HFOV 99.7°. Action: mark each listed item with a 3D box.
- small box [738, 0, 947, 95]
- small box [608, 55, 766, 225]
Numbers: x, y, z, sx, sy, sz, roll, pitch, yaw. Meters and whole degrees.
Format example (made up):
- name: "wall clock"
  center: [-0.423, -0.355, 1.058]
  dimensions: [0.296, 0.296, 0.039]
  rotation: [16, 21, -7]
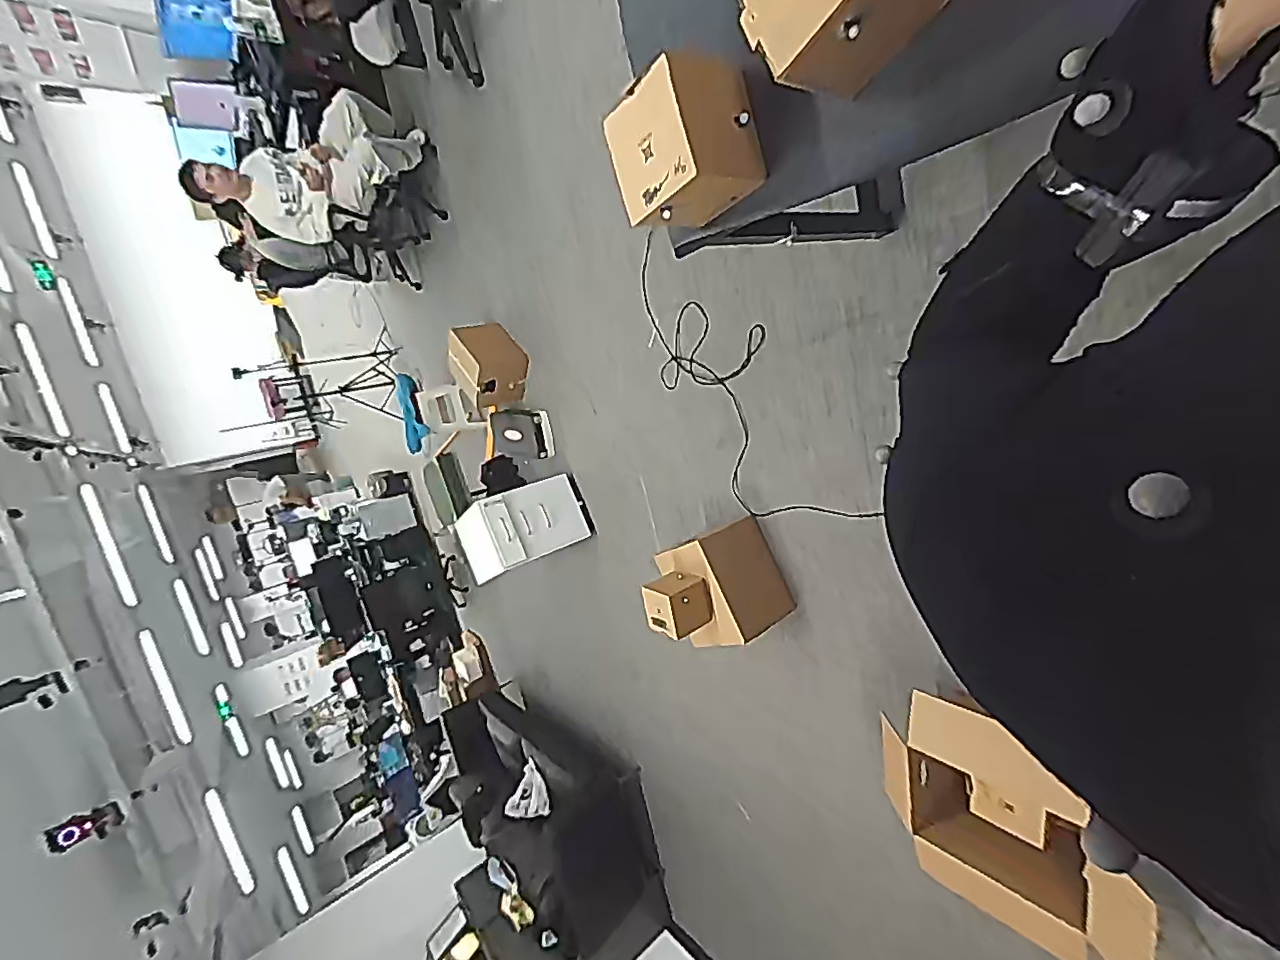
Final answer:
- name: "small box"
  center: [0.242, -0.601, 0.639]
  dimensions: [0.179, 0.176, 0.168]
  rotation: [-27, 84, 54]
- name: "small box"
  center: [0.078, -0.538, 0.887]
  dimensions: [0.168, 0.176, 0.179]
  rotation: [-9, 98, 54]
